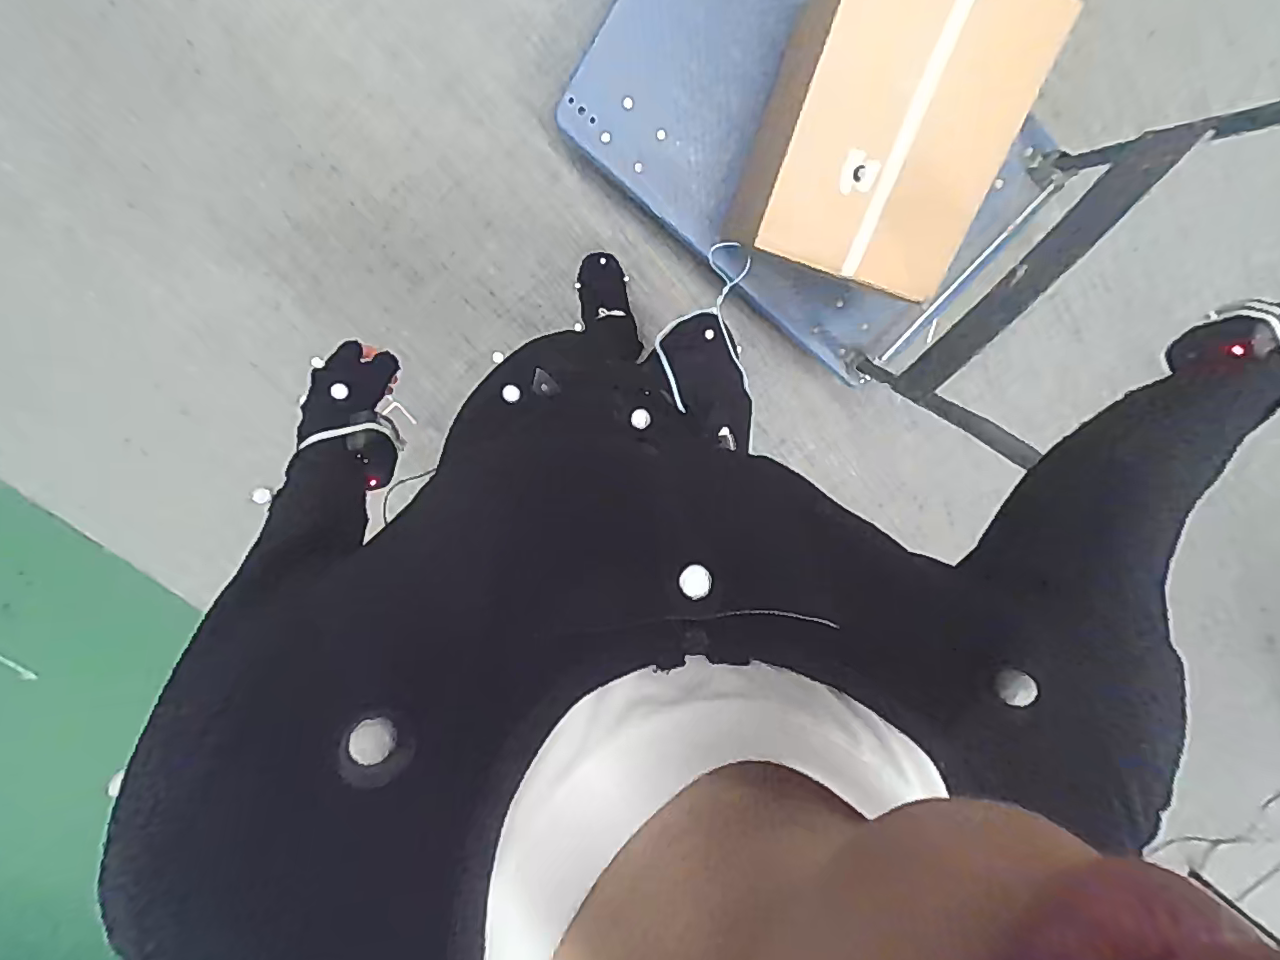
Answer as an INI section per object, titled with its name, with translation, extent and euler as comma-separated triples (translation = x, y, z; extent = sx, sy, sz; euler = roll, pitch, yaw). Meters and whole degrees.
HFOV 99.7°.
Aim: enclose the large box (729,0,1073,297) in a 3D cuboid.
[large box]
translation = 0.380, -0.574, 0.913
extent = 0.320, 0.320, 0.408
euler = 15, 115, -8
